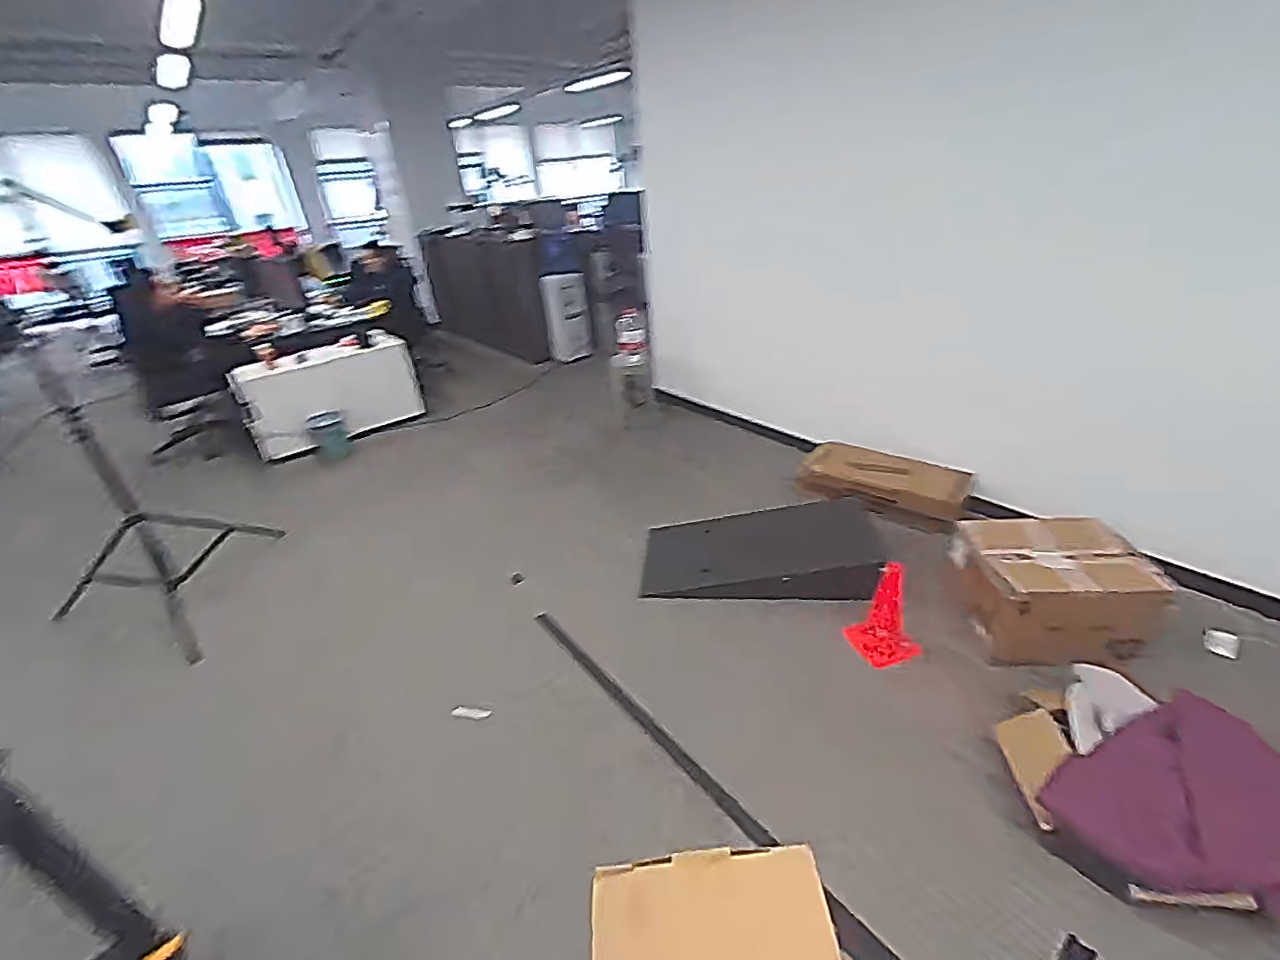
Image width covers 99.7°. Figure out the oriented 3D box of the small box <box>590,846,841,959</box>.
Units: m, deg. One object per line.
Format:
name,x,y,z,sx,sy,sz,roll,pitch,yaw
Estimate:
small box,0.054,0.390,0.380,0.168,0.176,0.179,-6,41,-1
